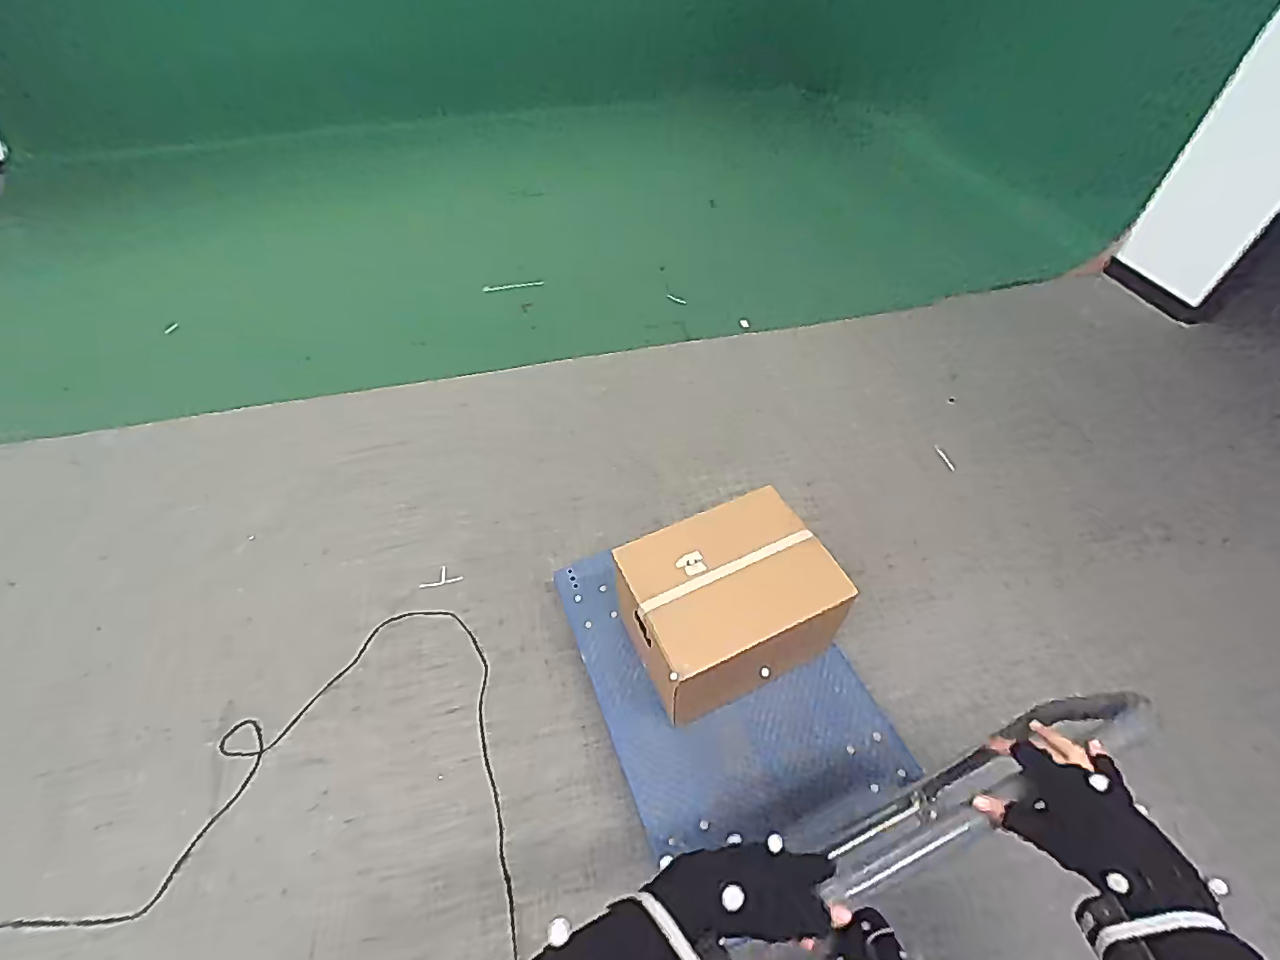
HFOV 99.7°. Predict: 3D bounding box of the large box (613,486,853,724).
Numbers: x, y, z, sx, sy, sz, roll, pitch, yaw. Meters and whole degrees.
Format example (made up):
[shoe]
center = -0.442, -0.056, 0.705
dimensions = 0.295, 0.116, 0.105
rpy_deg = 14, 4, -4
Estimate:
[large box]
center = 0.191, 0.281, 1.222
dimensions = 0.408, 0.320, 0.320
rpy_deg = -22, 52, -13
